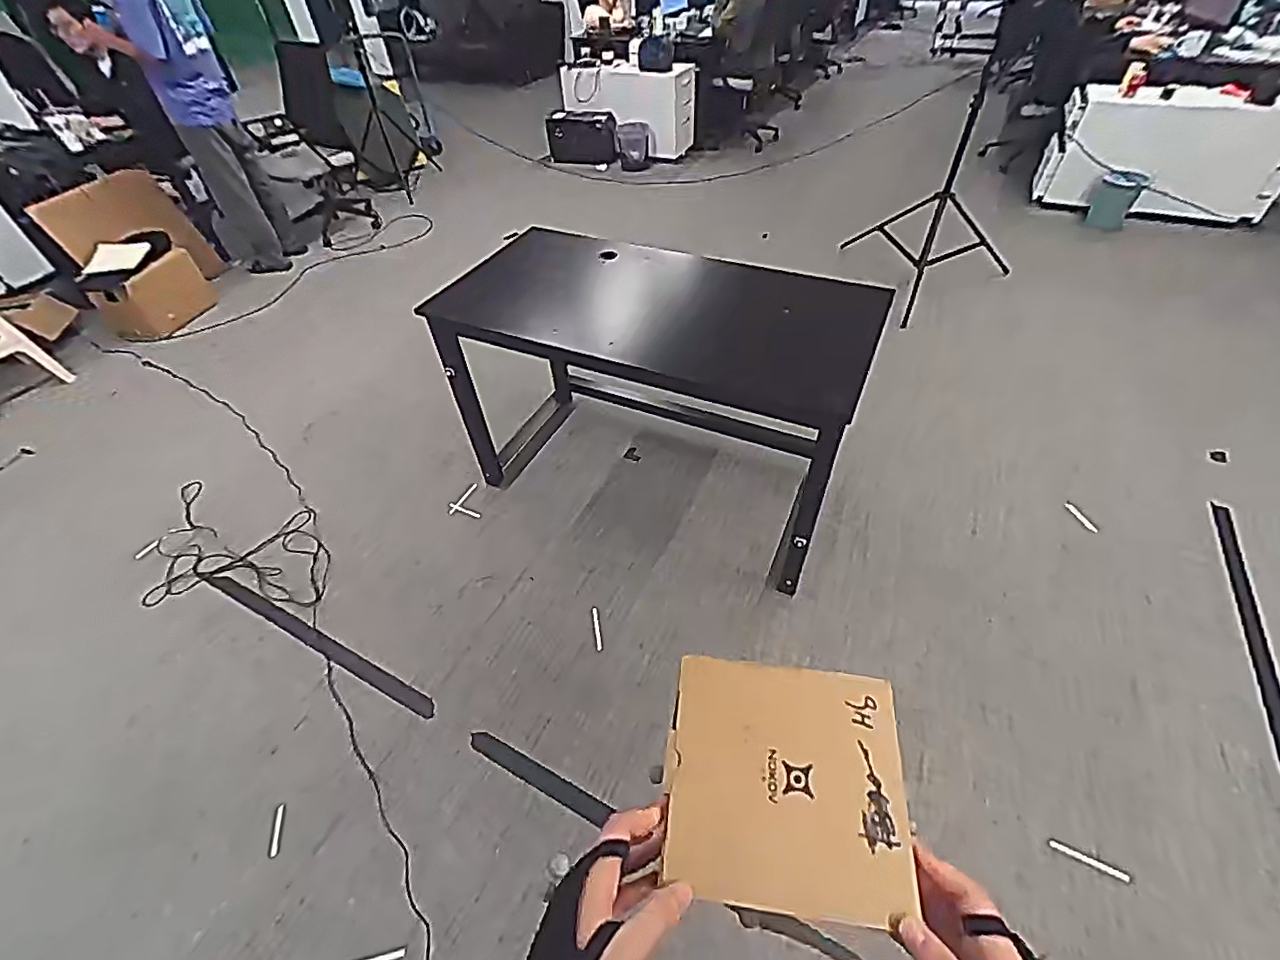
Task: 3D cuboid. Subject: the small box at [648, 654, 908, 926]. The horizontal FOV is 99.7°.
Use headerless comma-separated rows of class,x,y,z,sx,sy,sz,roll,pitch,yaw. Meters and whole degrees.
small box,0.105,0.269,0.474,0.179,0.176,0.168,5,54,6
